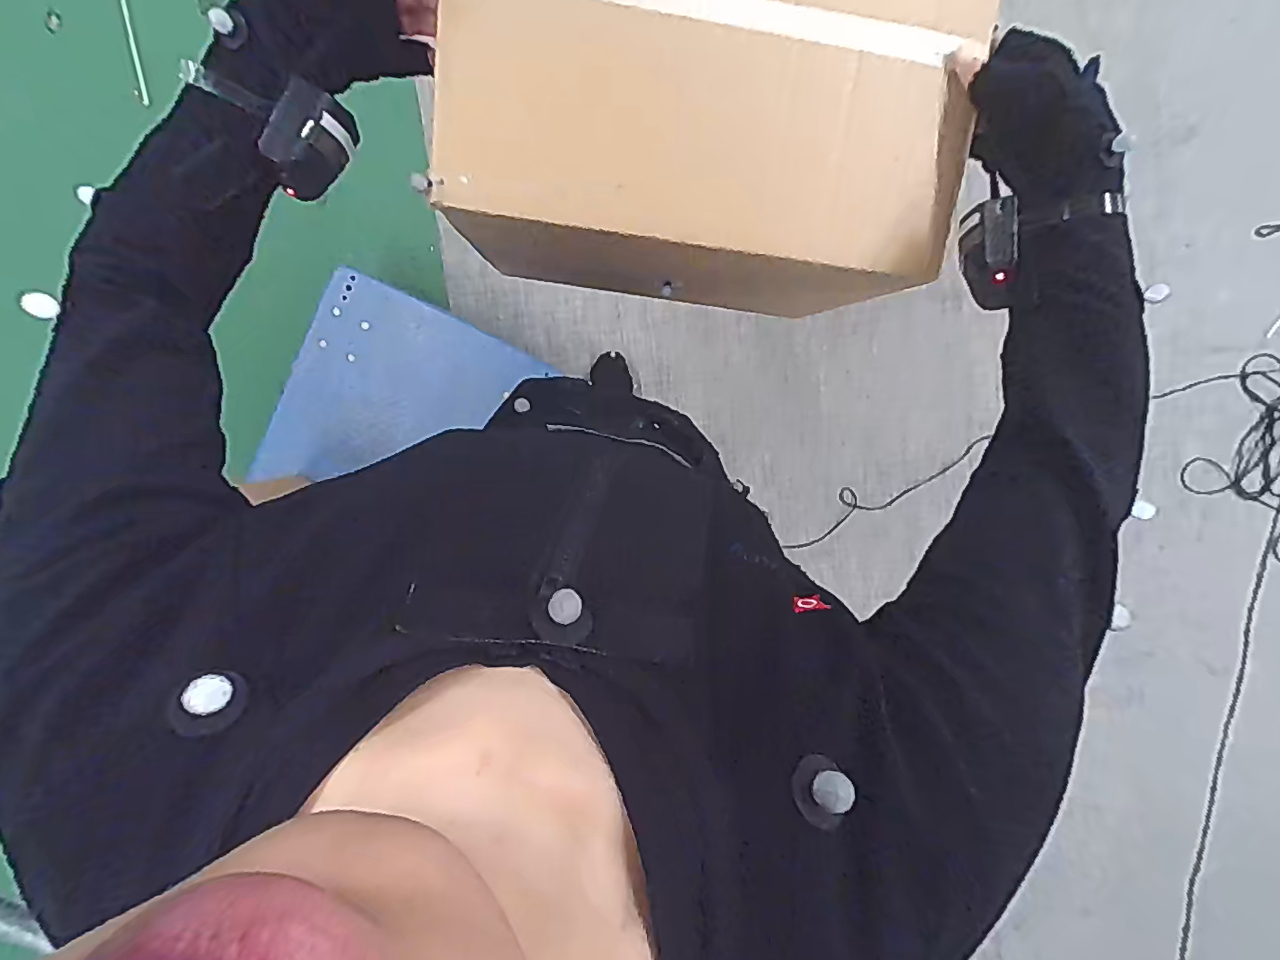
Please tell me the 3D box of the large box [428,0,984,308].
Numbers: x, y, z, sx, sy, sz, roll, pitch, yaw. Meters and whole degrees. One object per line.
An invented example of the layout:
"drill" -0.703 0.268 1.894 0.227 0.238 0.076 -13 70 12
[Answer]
"large box" 0.046 -0.364 0.538 0.408 0.320 0.320 6 100 -6
